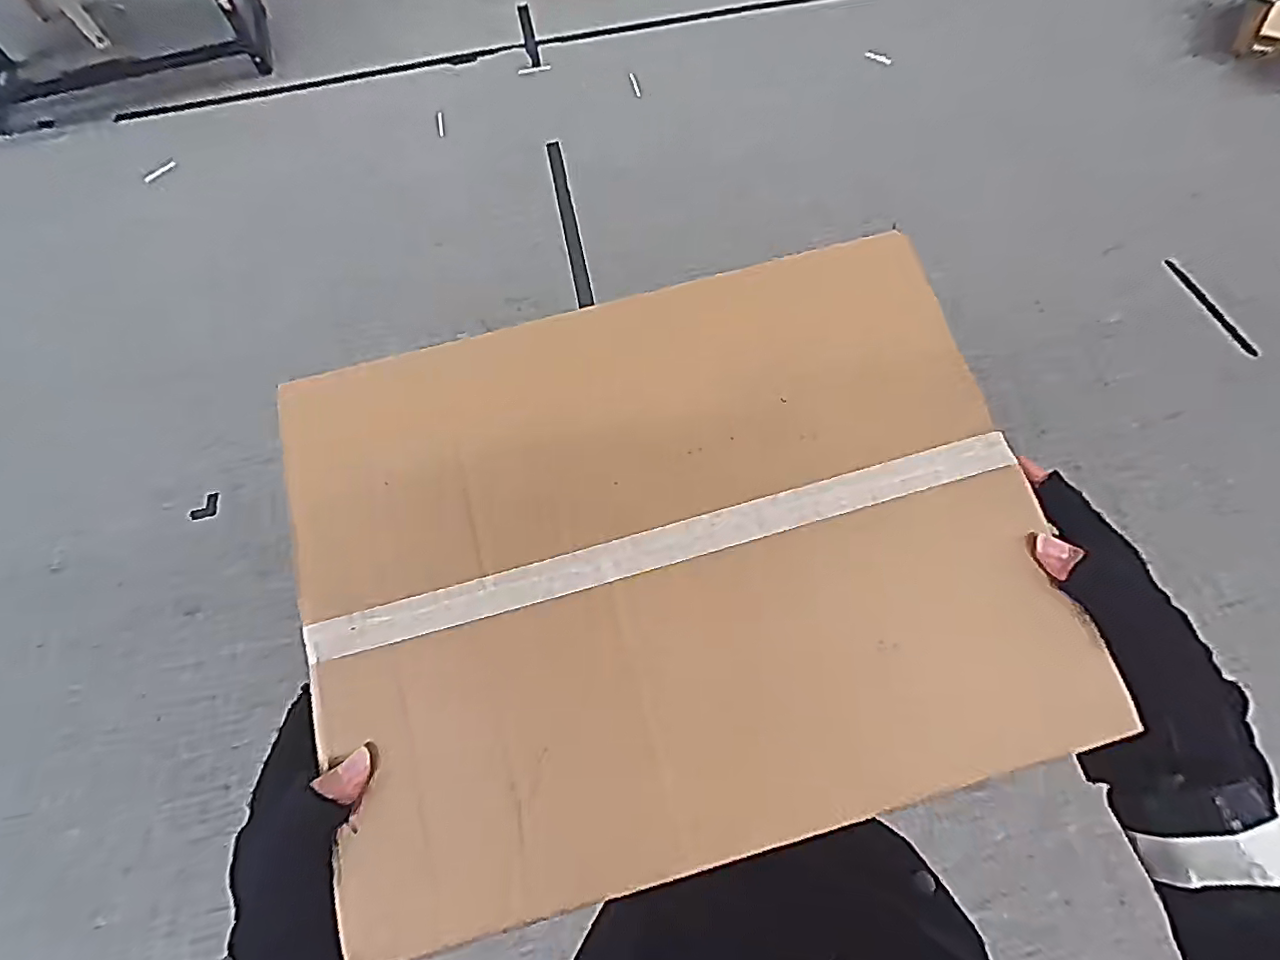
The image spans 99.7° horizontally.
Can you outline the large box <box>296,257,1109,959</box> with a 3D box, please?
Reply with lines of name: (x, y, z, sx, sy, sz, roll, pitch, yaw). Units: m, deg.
large box: (0.022, 0.084, 0.452, 0.408, 0.320, 0.320, -16, 75, -3)
